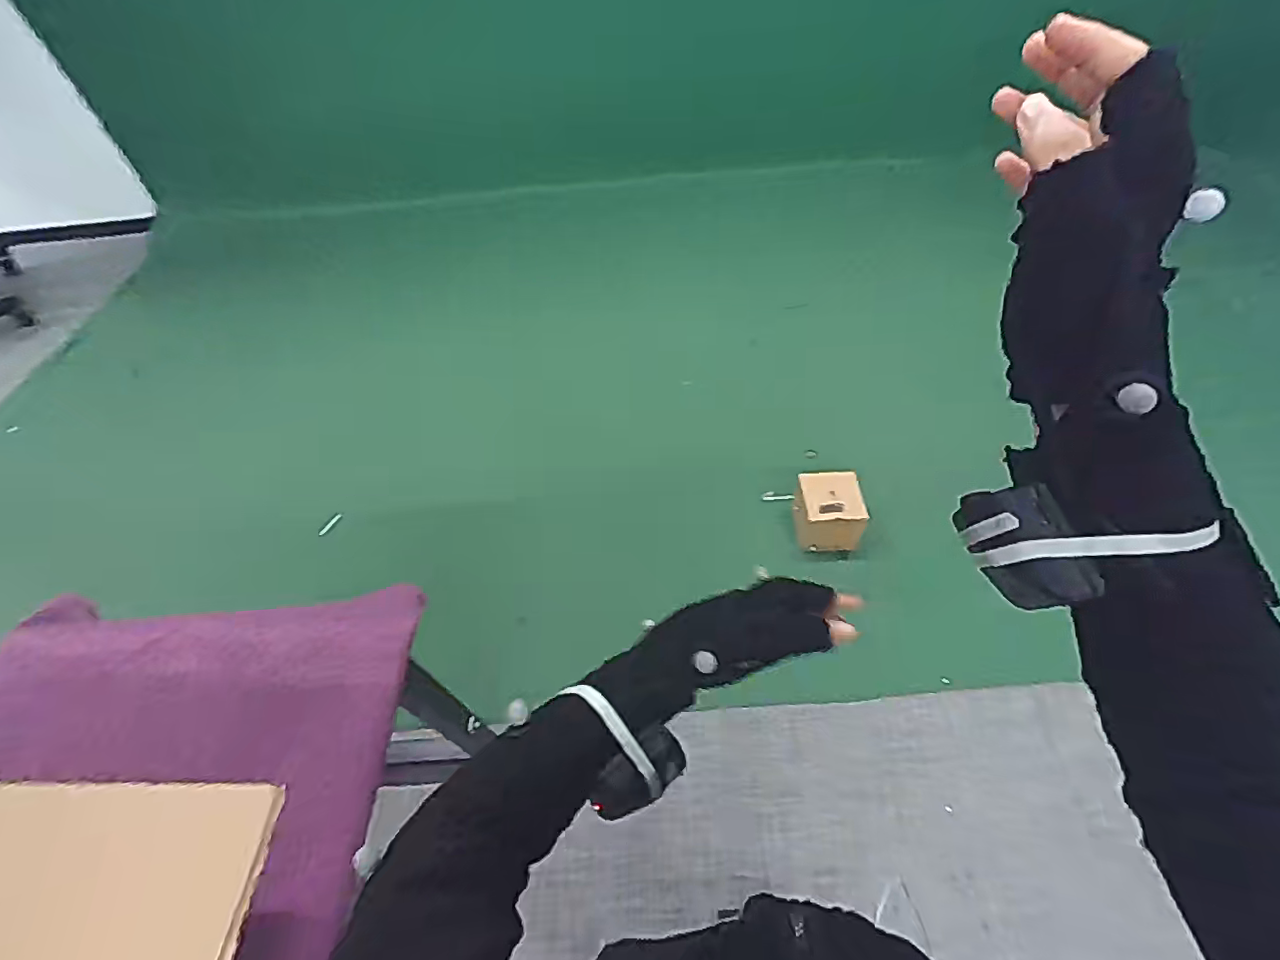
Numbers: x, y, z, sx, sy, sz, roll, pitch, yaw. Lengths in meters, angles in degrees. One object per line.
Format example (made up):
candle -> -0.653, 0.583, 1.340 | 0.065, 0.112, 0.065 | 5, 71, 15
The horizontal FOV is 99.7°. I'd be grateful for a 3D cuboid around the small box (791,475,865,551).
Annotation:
small box -> 0.562, 0.105, 1.639 | 0.168, 0.176, 0.179 | -2, 50, 3
